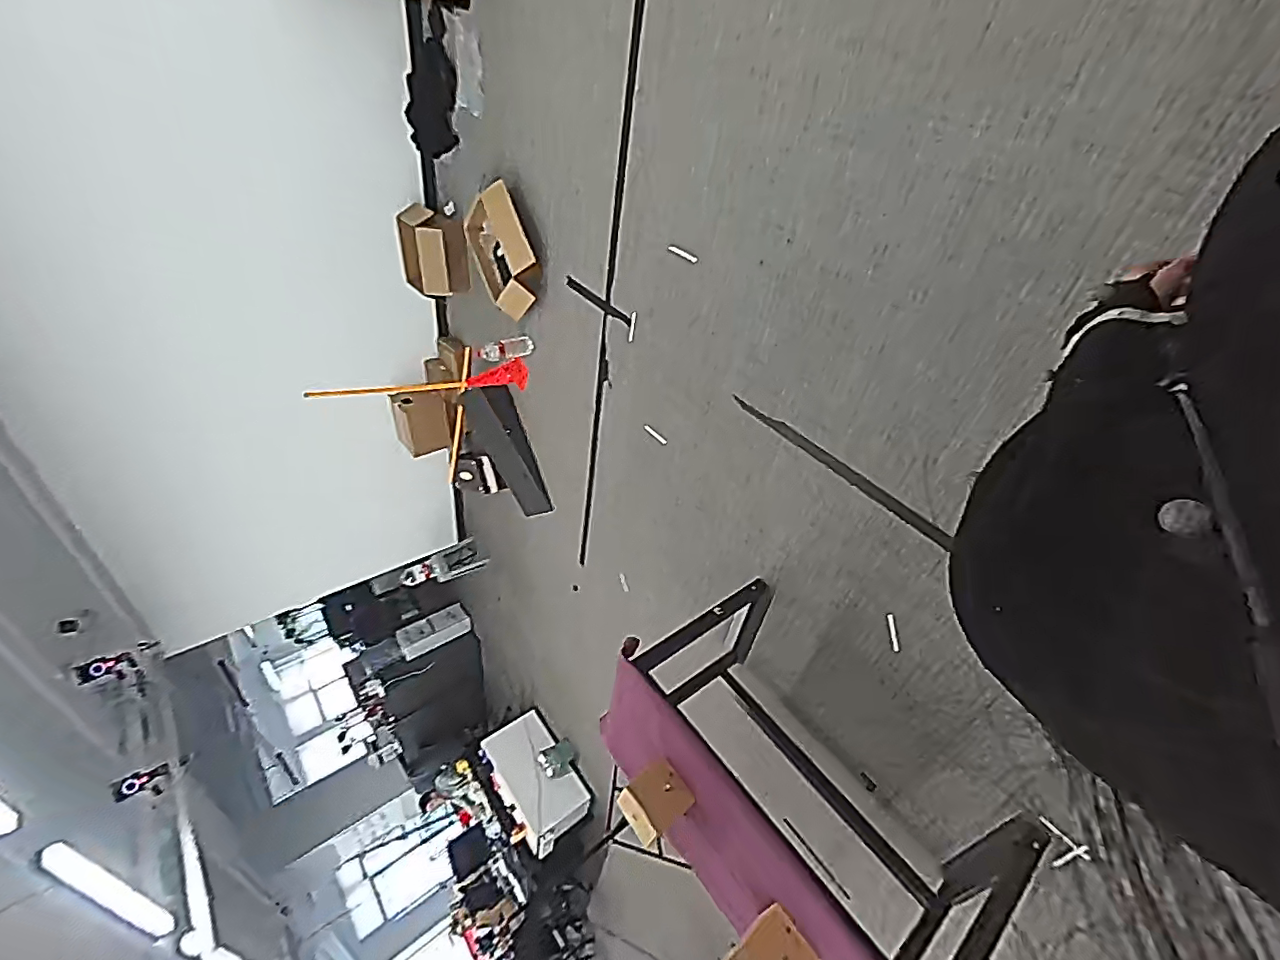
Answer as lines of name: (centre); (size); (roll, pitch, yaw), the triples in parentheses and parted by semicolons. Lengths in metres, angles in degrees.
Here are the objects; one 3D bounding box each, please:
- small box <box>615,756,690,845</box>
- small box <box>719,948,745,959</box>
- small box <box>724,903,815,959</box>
small box: (0.041, 1.051, 1.777); (0.168, 0.176, 0.179); (46, 140, 28)
small box: (0.231, 1.381, 1.410); (0.168, 0.176, 0.179); (42, 139, 32)
small box: (0.358, 1.325, 1.497); (0.168, 0.176, 0.179); (43, 139, 32)
